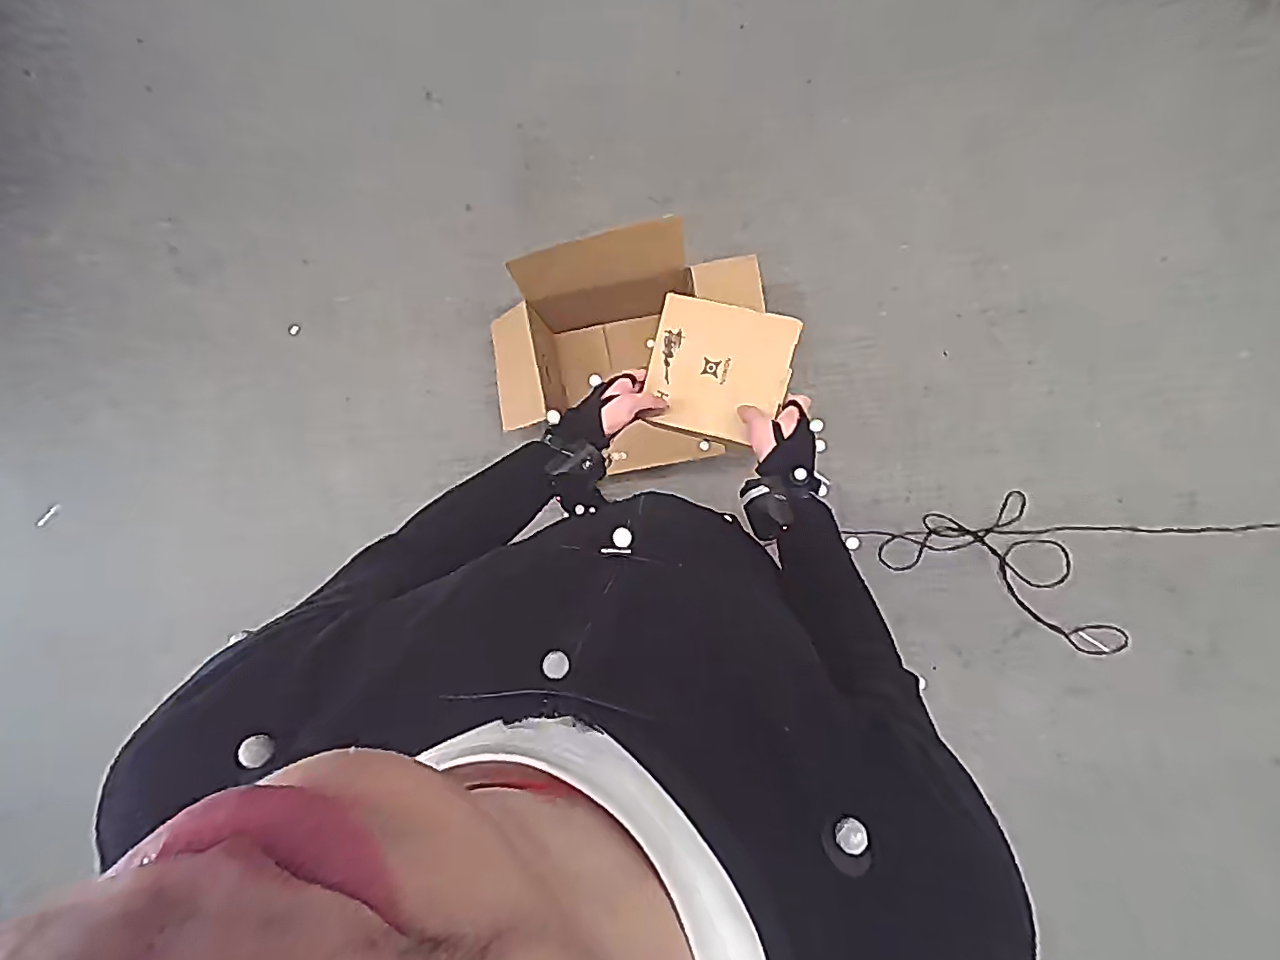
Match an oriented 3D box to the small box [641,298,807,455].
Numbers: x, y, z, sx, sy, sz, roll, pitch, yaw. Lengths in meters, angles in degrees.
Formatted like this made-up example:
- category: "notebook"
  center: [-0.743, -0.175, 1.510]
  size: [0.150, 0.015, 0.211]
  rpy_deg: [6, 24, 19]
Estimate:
- category: "small box"
  center: [0.117, -0.136, 0.765]
  size: [0.179, 0.176, 0.168]
  rpy_deg: [16, 94, 9]
